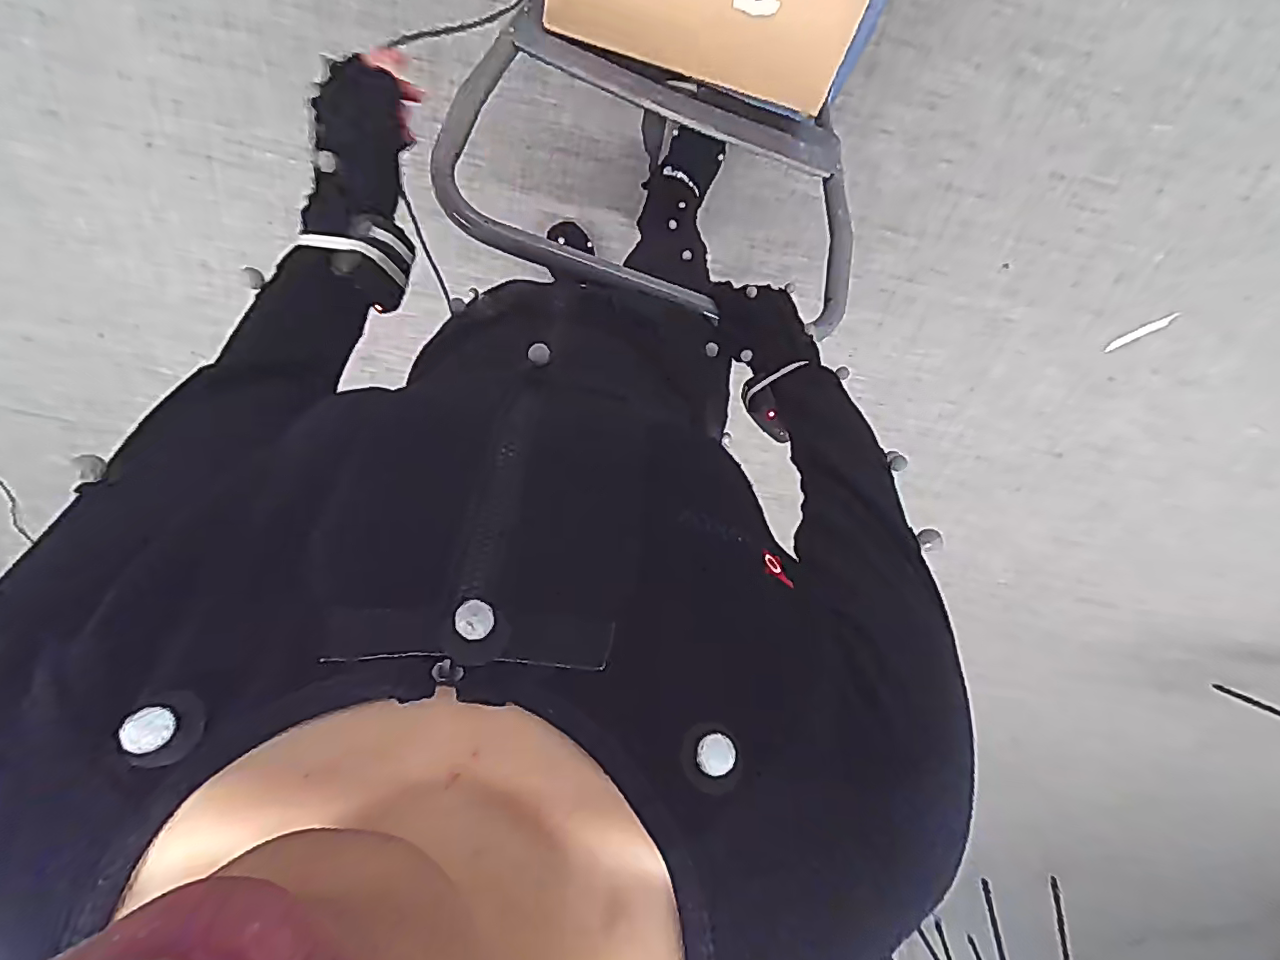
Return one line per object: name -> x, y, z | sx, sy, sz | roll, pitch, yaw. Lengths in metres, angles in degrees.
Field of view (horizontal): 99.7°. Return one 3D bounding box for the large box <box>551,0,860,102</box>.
large box -> 0.111, -0.796, 0.739 | 0.408, 0.320, 0.320 | 12, 143, -7
